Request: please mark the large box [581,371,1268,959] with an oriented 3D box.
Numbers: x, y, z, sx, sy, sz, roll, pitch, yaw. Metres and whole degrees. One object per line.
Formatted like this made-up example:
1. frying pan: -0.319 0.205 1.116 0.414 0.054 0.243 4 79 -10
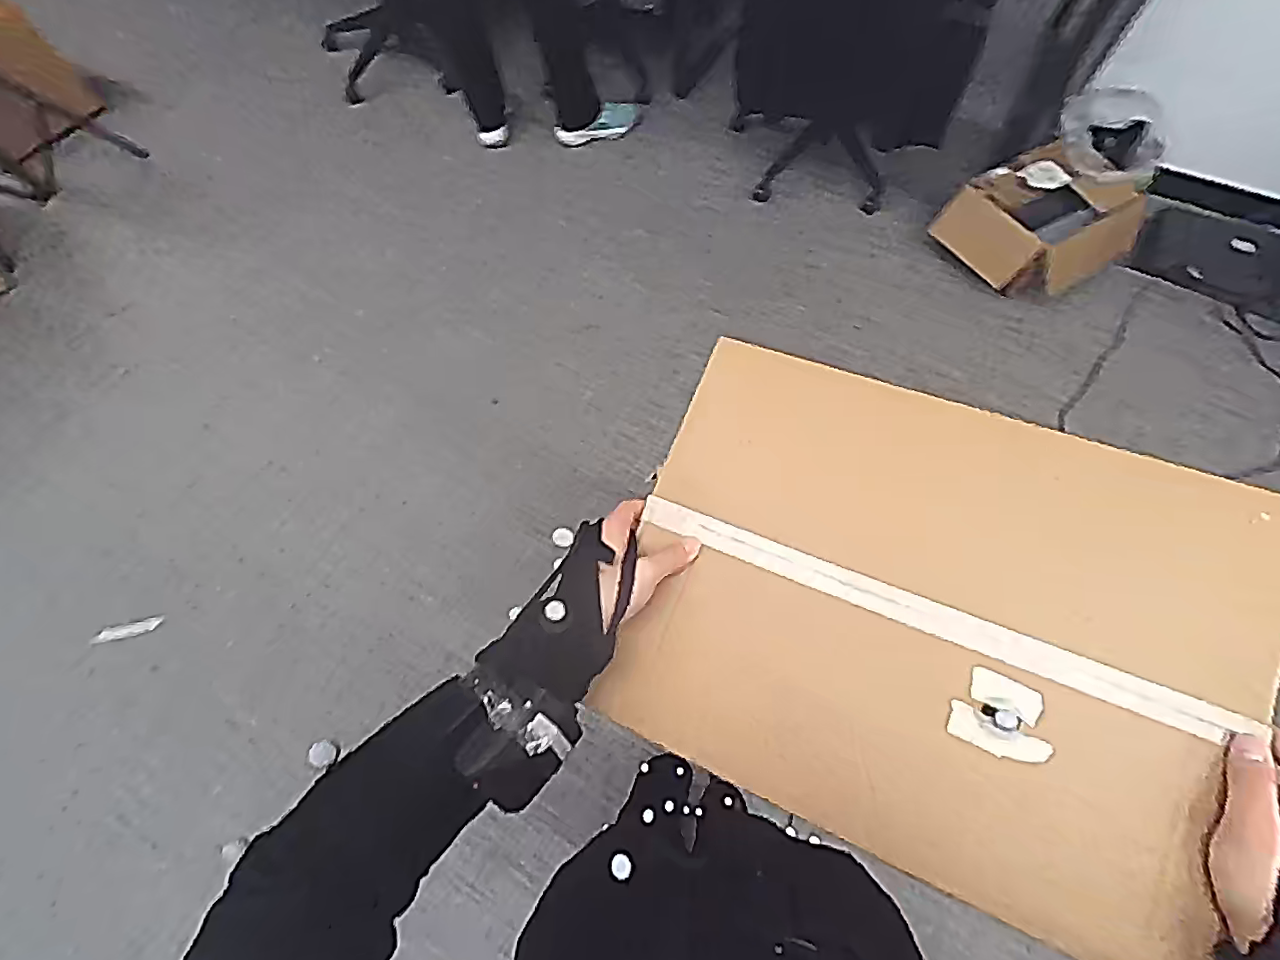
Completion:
1. large box: 0.212 0.142 0.527 0.408 0.320 0.320 20 80 15
